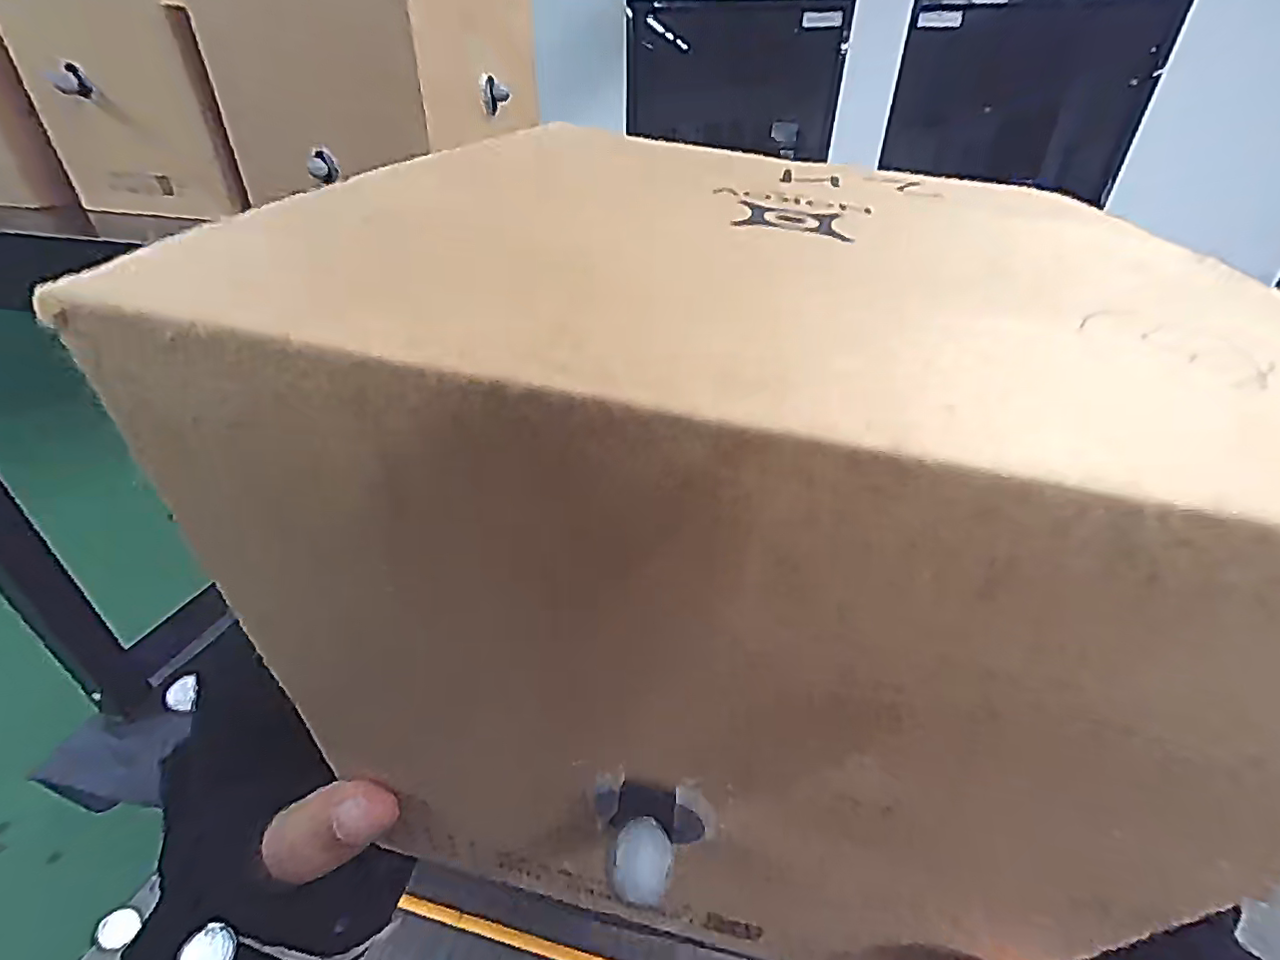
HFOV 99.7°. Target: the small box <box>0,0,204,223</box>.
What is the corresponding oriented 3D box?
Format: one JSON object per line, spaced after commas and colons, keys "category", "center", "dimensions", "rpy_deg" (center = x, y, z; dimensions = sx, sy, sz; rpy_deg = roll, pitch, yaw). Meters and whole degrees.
{"category": "small box", "center": [-0.565, -0.351, 0.510], "dimensions": [0.168, 0.176, 0.179], "rpy_deg": [9, 34, 12]}
